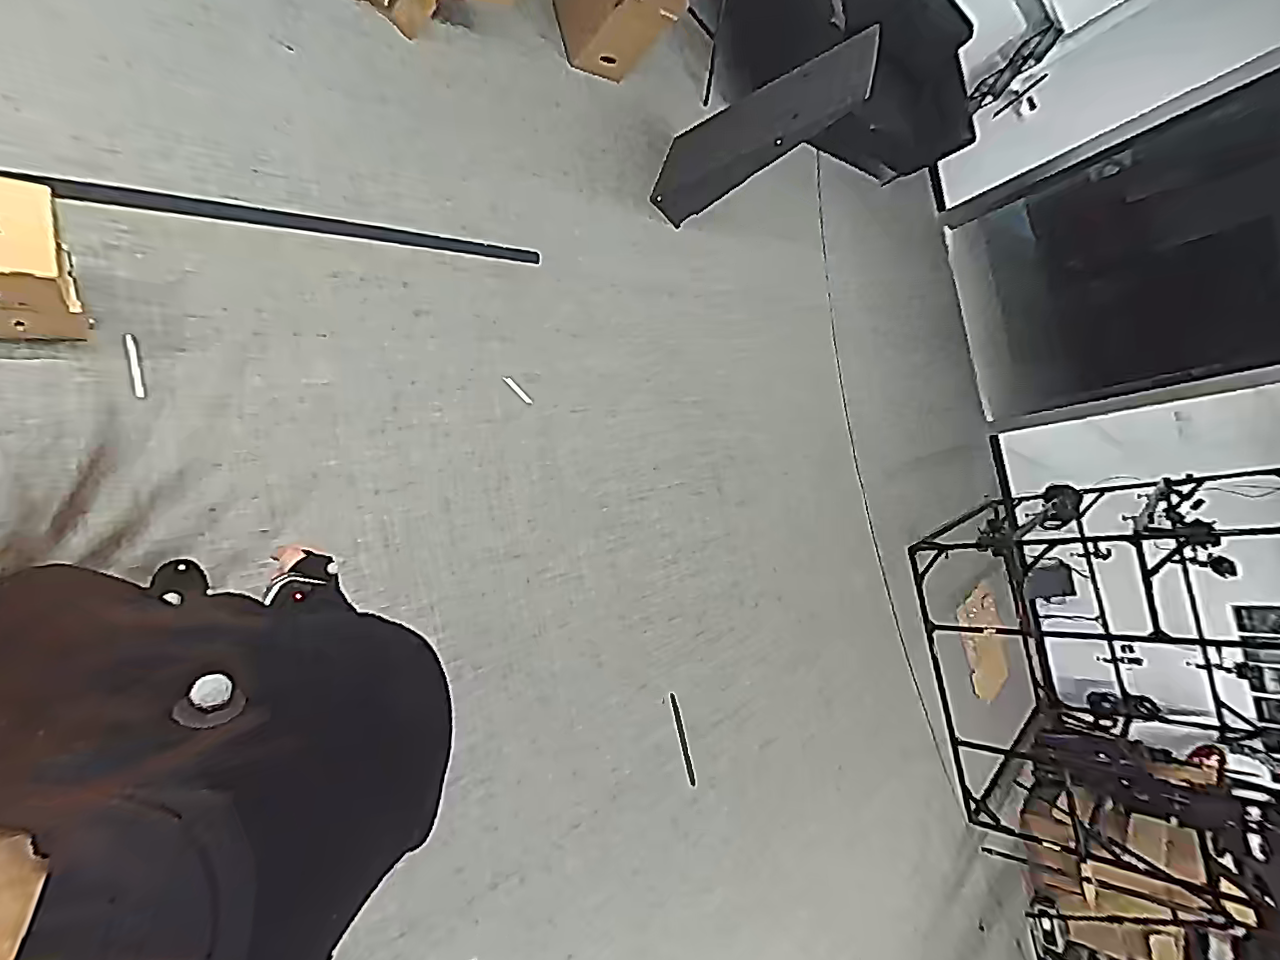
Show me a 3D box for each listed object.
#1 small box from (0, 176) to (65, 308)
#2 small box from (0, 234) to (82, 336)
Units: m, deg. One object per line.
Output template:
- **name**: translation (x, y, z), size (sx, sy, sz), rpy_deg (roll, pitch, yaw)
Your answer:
- **small box**: translation (-1.182, -0.437, 0.987), size (0.168, 0.176, 0.179), rpy_deg (-6, 87, -42)
- **small box**: translation (-1.284, -0.403, 1.110), size (0.179, 0.176, 0.168), rpy_deg (-12, 90, -42)
